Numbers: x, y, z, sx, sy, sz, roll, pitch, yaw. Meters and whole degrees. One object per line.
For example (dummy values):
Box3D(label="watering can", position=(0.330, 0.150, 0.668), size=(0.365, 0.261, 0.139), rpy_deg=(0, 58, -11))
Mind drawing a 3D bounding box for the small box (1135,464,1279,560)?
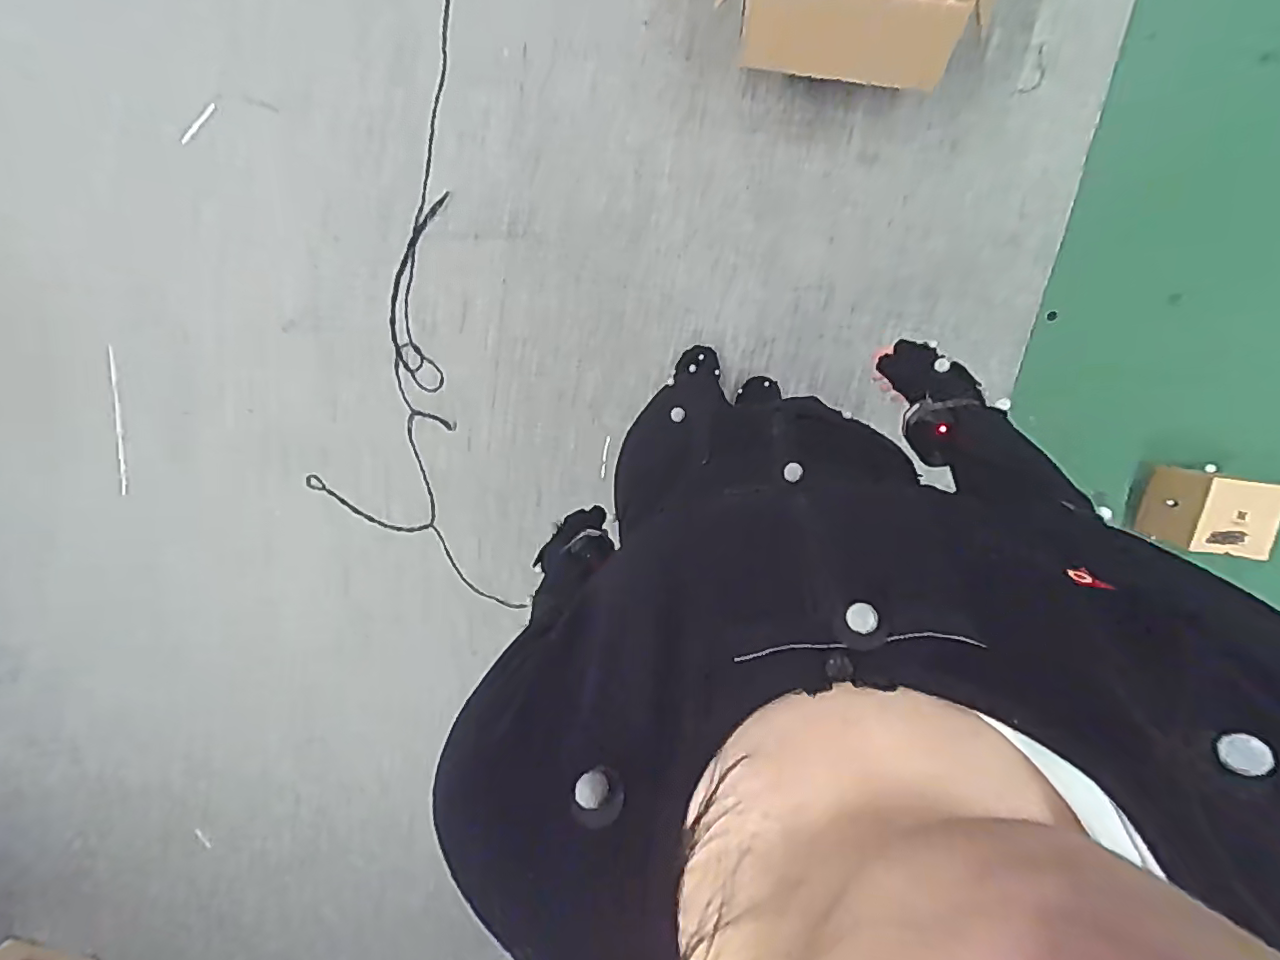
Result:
Box3D(label="small box", position=(1.340, 0.070, 1.283), size=(0.168, 0.176, 0.179), rpy_deg=(8, 102, 5))
